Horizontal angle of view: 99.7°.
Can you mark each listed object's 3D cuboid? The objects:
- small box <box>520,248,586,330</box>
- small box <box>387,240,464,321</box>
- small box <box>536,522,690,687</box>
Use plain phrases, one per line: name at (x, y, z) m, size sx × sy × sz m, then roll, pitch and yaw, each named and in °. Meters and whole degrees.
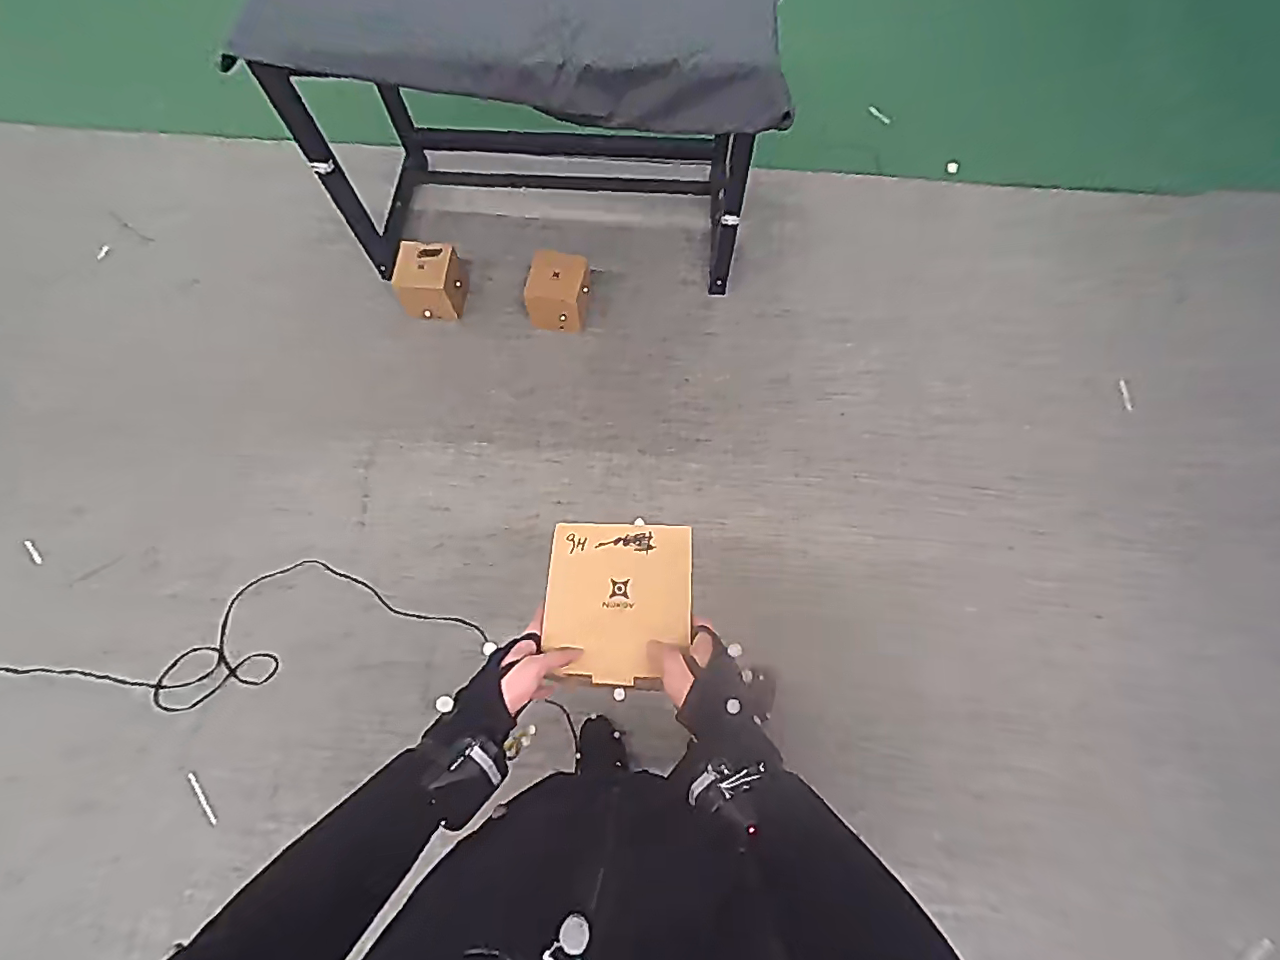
small box at (-0.269, -0.607, 1.730) m, size 0.168 × 0.176 × 0.179 m, roll 9°, pitch 68°, yaw 2°
small box at (-0.682, -0.640, 1.742) m, size 0.168 × 0.176 × 0.179 m, roll 3°, pitch 70°, yaw 2°
small box at (-0.021, 0.160, 0.671) m, size 0.168 × 0.176 × 0.179 m, roll 0°, pitch 67°, yaw 4°
